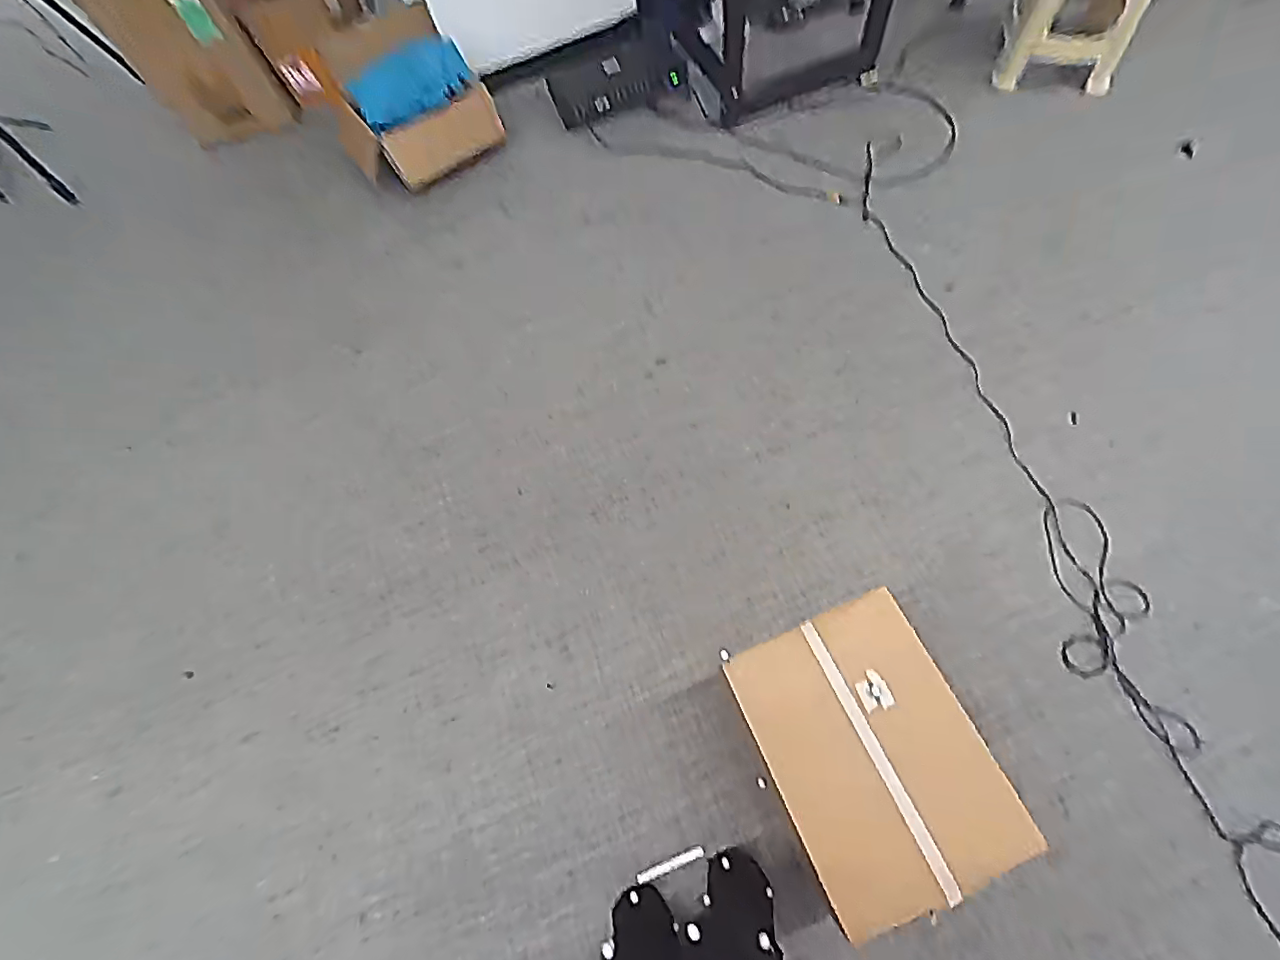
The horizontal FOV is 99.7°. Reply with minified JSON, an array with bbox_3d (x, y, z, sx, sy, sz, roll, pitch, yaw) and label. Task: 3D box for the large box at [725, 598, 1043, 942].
[{"bbox_3d":[0.379,0.486,0.976,0.320,0.320,0.408,-23,64,-4],"label":"large box"}]
